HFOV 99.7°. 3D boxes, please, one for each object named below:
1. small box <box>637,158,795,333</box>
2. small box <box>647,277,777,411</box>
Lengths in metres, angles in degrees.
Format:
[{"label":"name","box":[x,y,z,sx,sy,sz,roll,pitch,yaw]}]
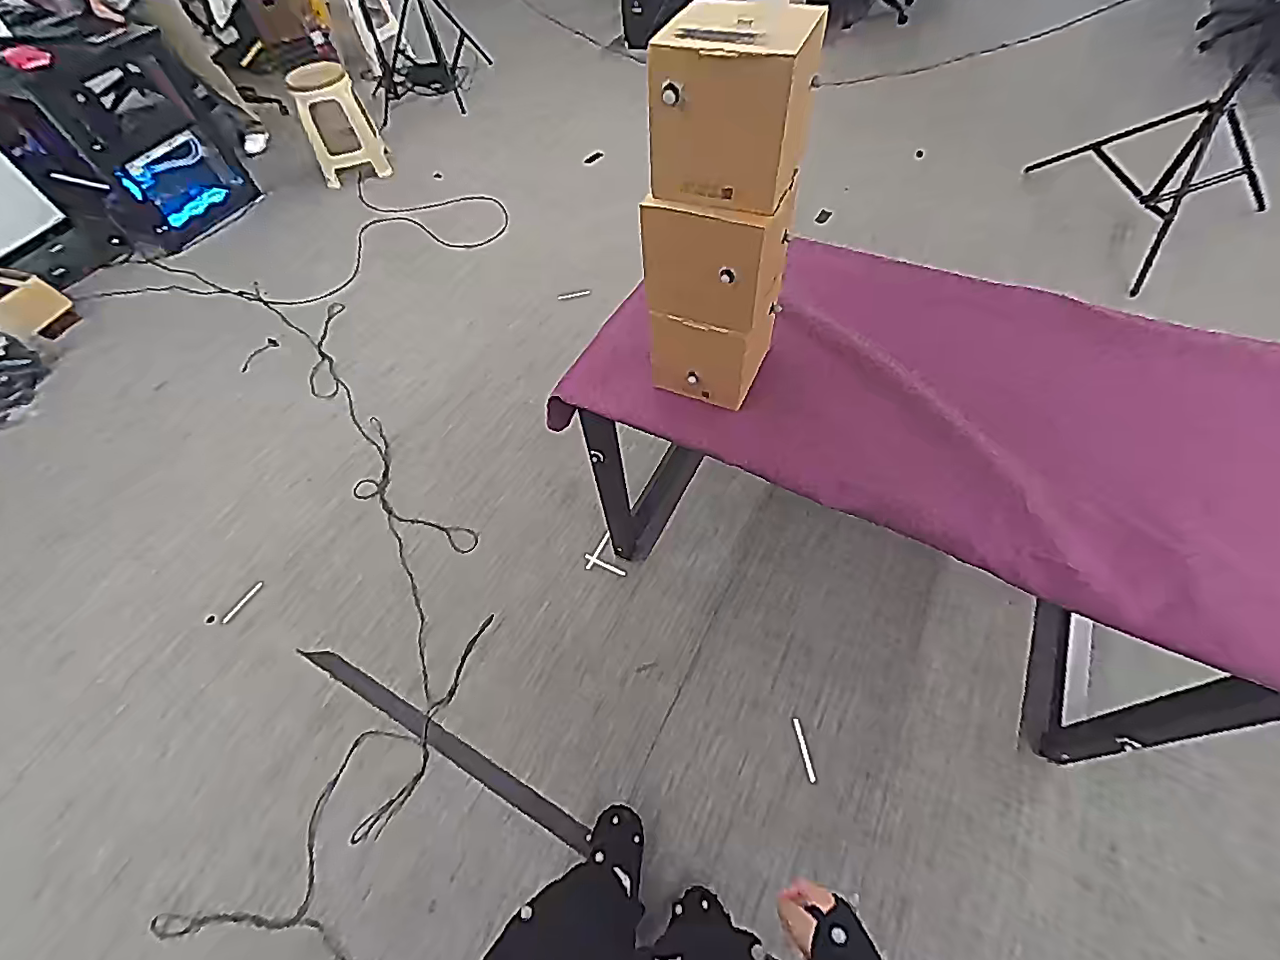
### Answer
[{"label":"small box","box":[0.111,-0.345,0.806,0.179,0.176,0.168,18,57,17]},{"label":"small box","box":[0.123,-0.252,0.939,0.168,0.176,0.179,20,60,17]}]
